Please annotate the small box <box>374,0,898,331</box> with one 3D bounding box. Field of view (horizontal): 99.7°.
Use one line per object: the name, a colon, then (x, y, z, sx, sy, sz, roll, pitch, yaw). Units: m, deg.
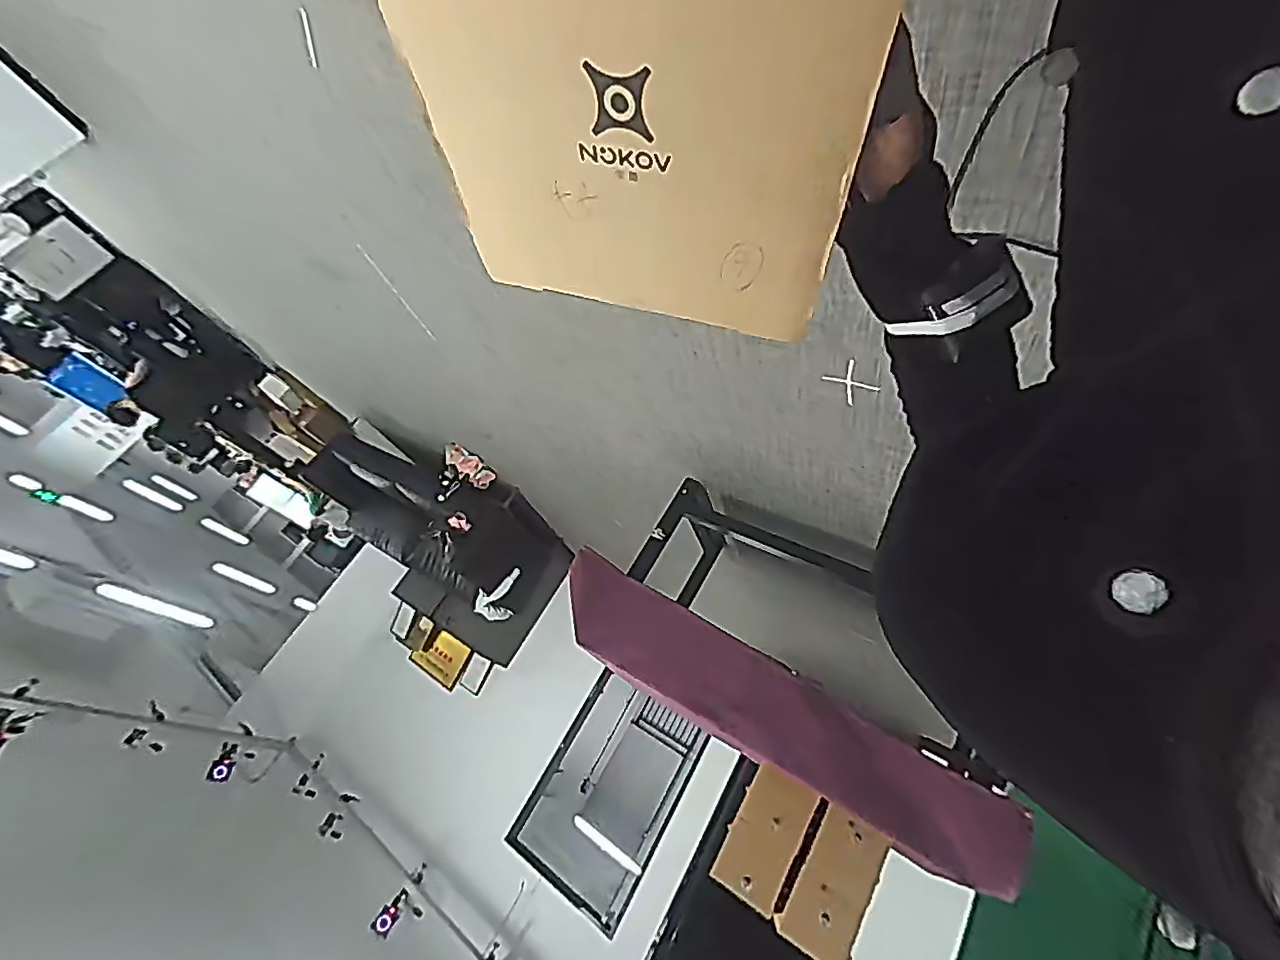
small box: (0.016, -0.196, 0.218, 0.168, 0.176, 0.179, 15, 154, 11)
